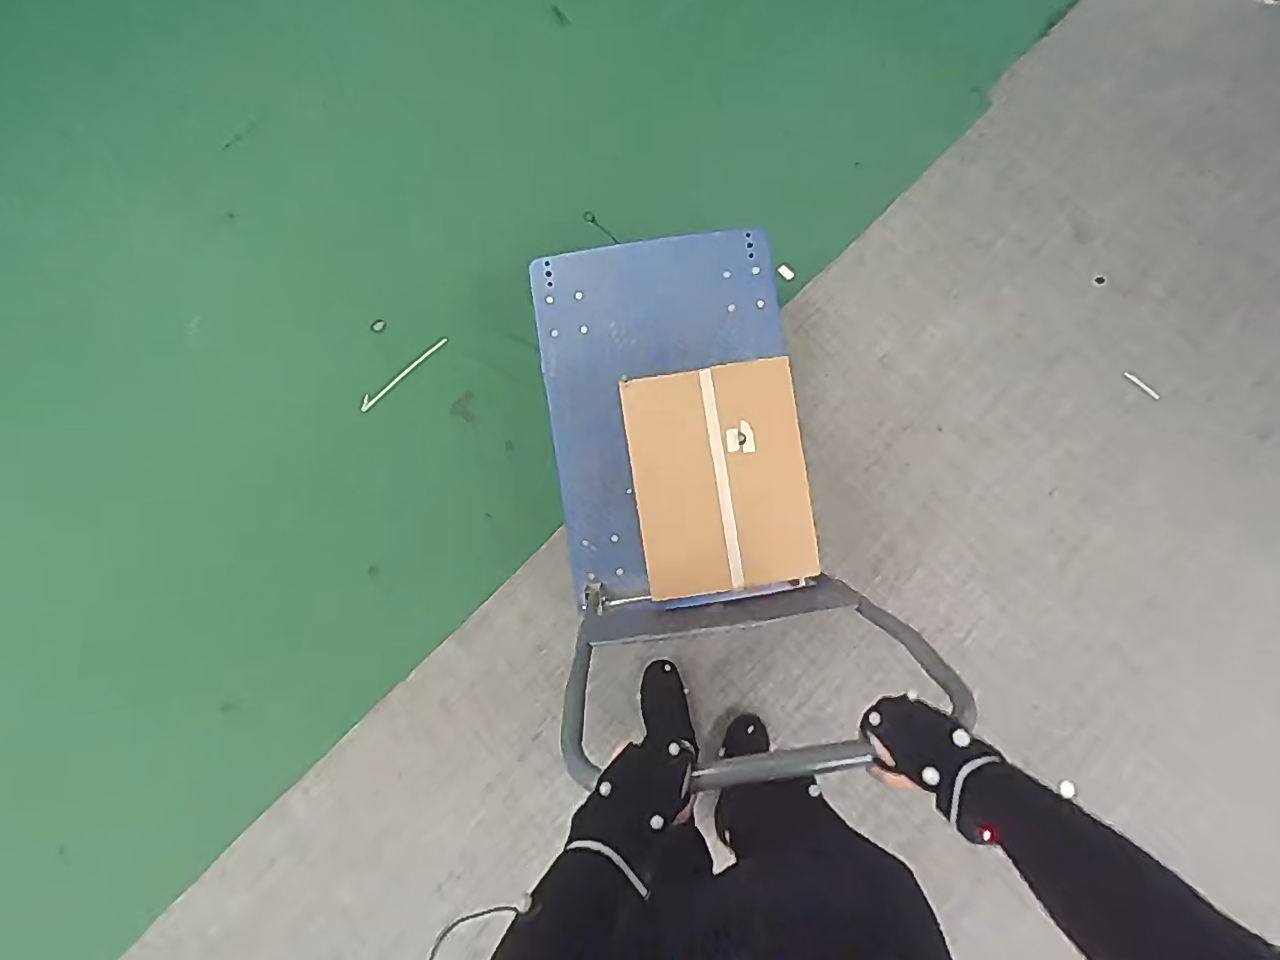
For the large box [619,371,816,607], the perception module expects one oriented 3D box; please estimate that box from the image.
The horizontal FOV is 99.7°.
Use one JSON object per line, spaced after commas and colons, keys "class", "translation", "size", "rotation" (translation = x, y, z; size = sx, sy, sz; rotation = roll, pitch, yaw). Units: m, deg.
{"class": "large box", "translation": [0.145, 0.018, 1.145], "size": [0.320, 0.320, 0.408], "rotation": [-9, 90, -1]}
